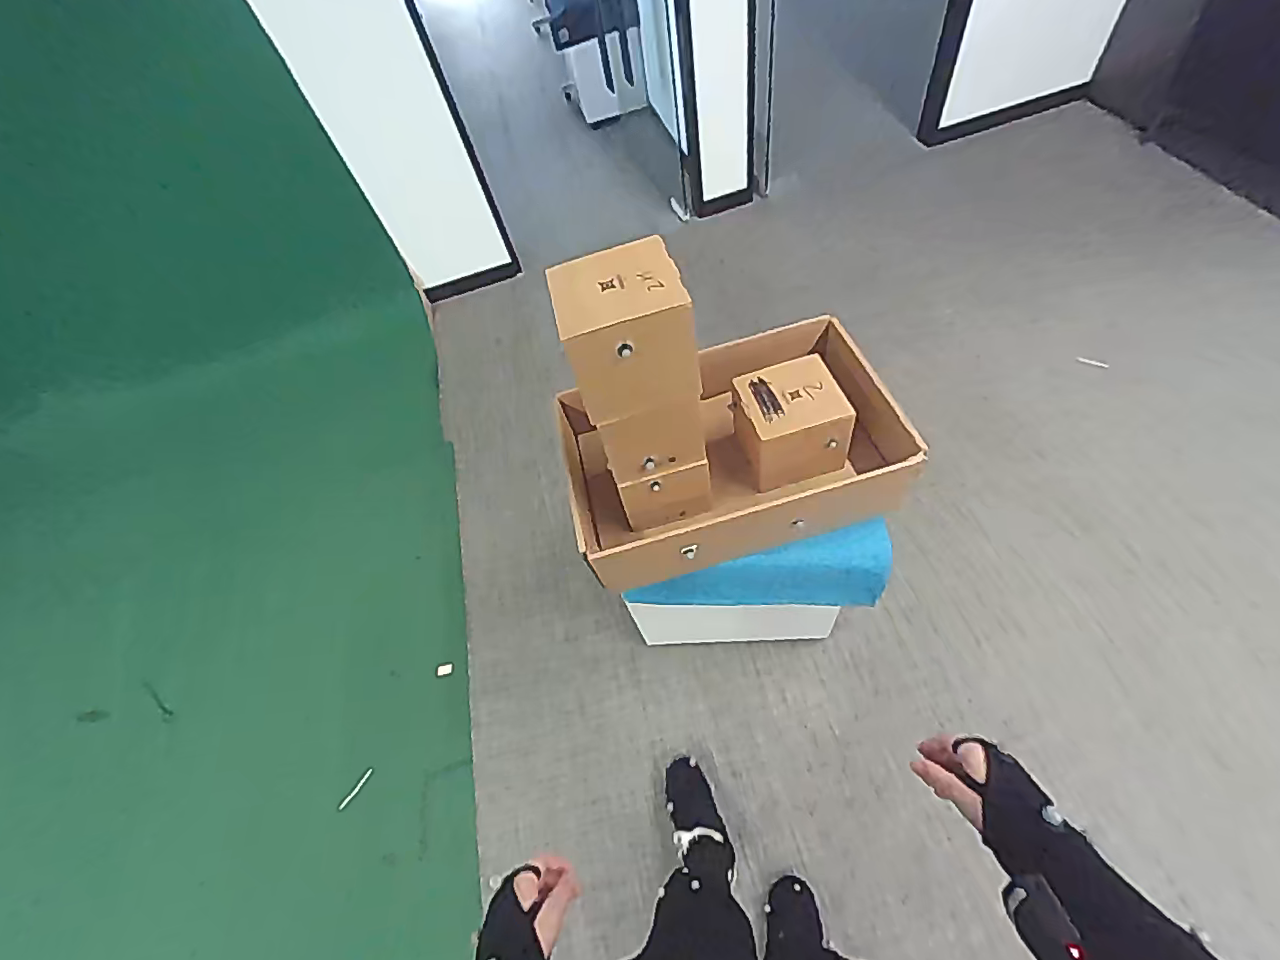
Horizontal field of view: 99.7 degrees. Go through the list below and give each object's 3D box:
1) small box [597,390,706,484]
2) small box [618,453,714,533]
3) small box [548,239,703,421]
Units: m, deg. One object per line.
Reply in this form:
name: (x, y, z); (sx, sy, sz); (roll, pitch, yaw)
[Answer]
small box: (0.009, -0.122, 0.922); (0.168, 0.176, 0.179); (-16, 54, 0)
small box: (0.039, -0.026, 1.050); (0.168, 0.176, 0.179); (-16, 54, 0)
small box: (-0.018, -0.210, 0.786); (0.179, 0.176, 0.168); (-16, 54, 1)
